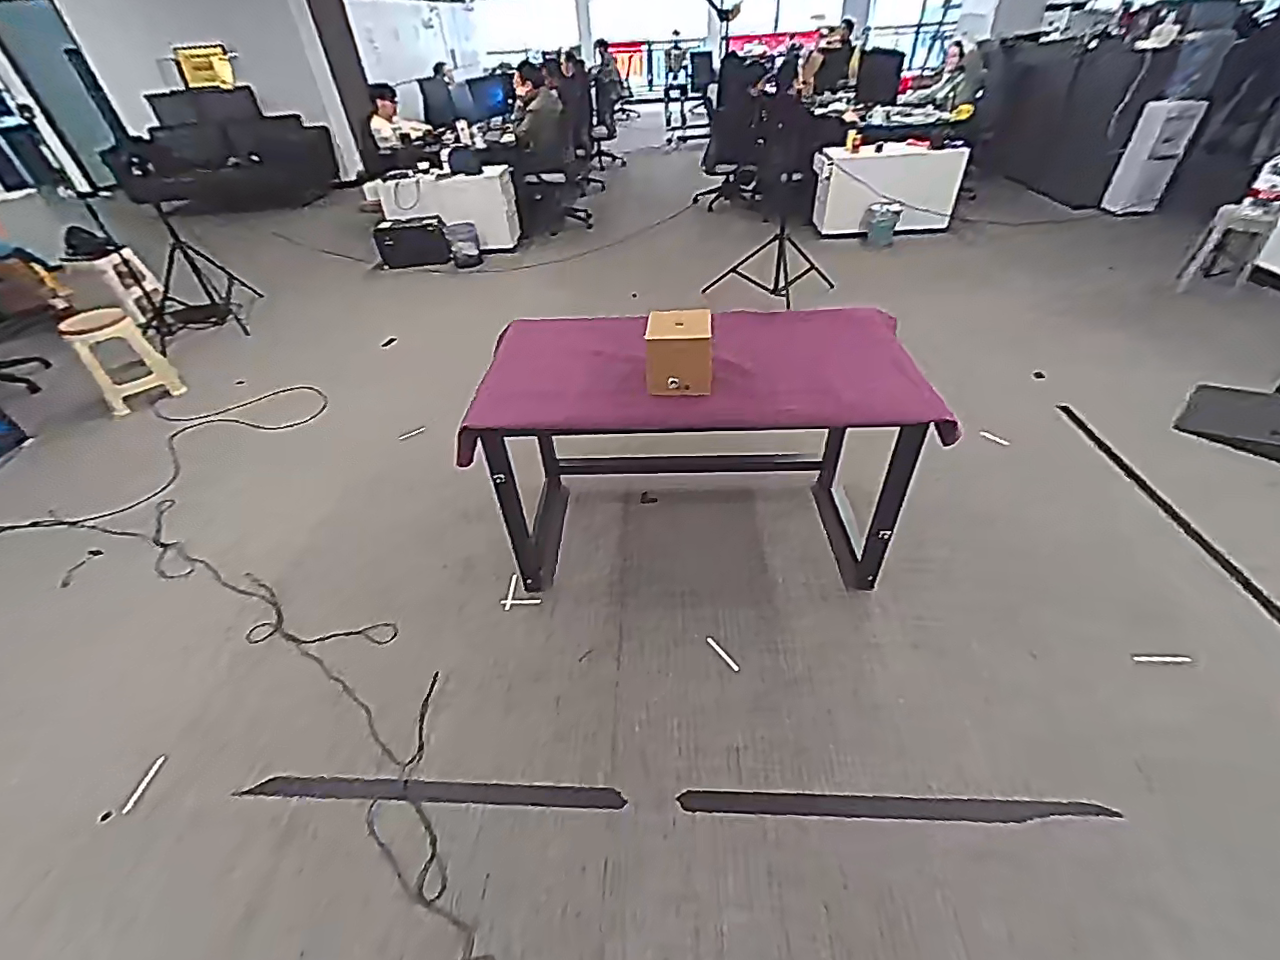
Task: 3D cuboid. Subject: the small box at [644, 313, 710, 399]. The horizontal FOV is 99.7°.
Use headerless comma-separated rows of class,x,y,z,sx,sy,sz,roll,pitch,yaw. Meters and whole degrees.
small box,0.101,-0.335,1.451,0.168,0.176,0.179,0,40,6
